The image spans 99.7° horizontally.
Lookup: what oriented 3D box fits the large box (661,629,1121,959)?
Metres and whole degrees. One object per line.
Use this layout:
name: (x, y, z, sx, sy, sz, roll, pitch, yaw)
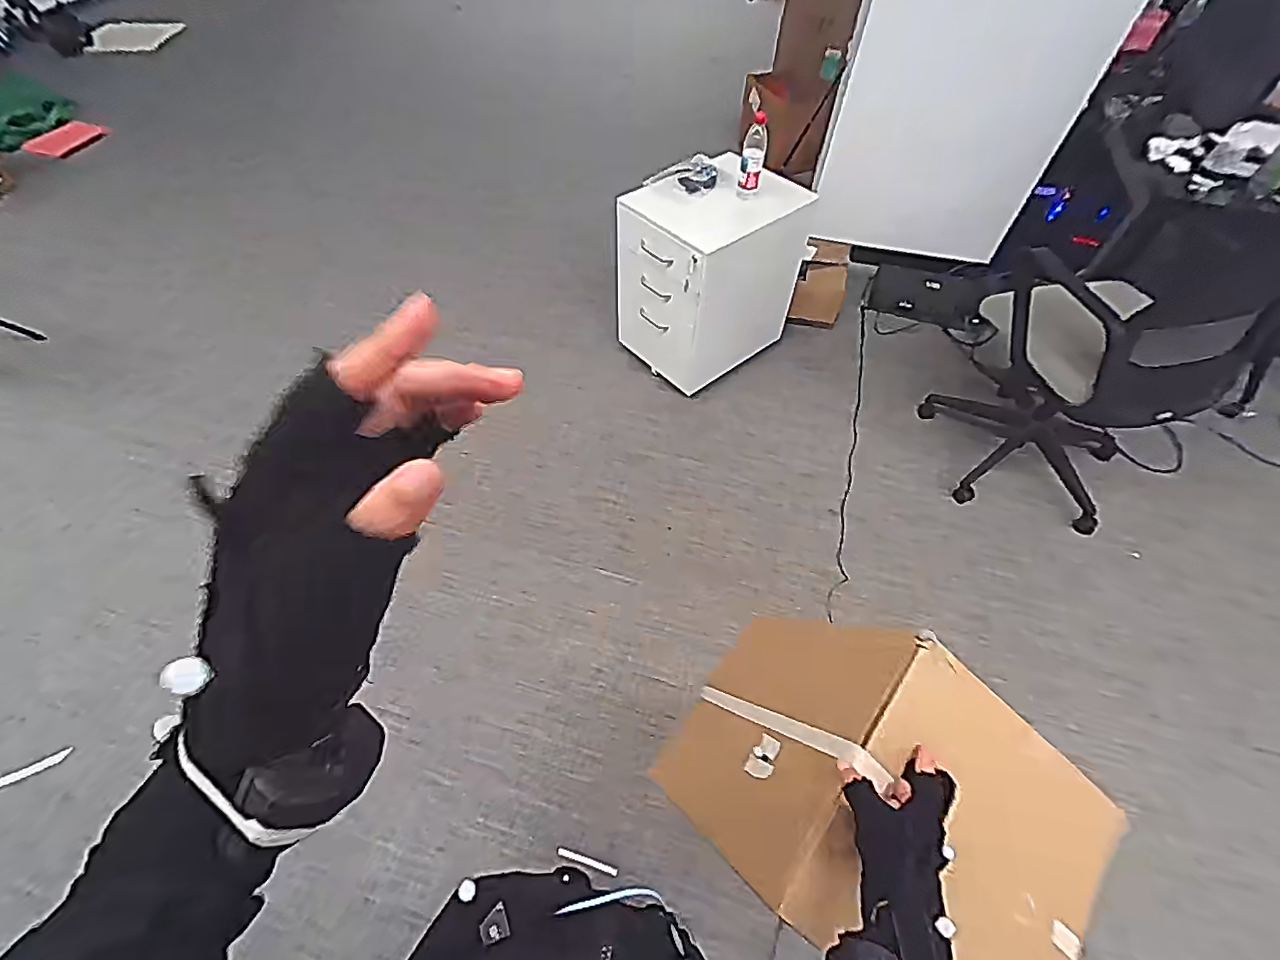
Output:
large box: (0.286, 0.430, 0.731, 0.320, 0.408, 0.320, 42, 72, -3)
